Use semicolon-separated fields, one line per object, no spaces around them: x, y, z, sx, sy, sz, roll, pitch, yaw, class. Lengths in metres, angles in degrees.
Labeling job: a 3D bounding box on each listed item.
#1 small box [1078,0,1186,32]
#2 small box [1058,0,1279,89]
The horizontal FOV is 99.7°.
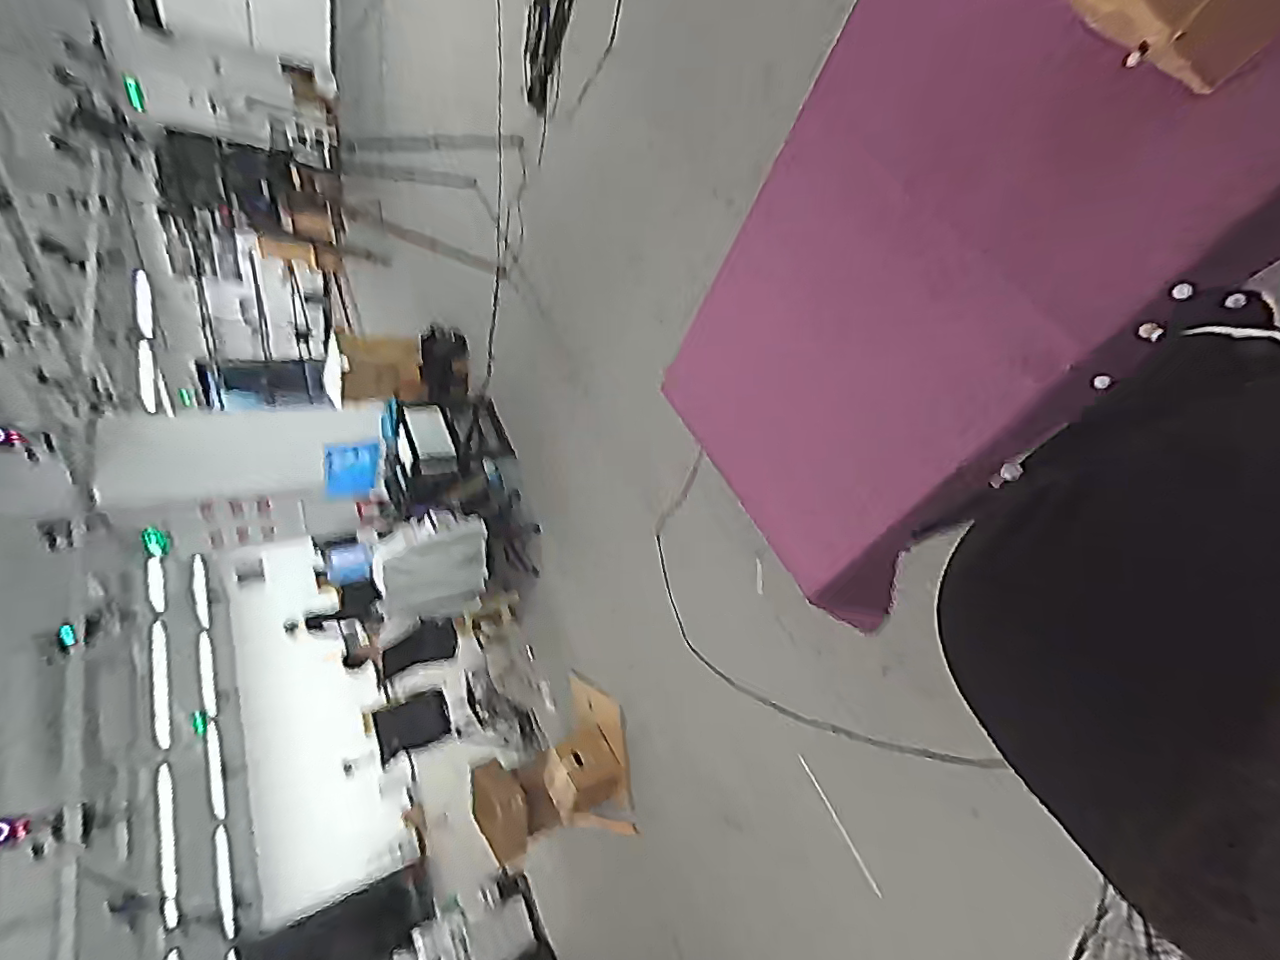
0.366;-0.472;0.386;0.168;0.176;0.179;61;141;25;small box
0.501;-0.490;0.474;0.168;0.176;0.179;63;142;23;small box
